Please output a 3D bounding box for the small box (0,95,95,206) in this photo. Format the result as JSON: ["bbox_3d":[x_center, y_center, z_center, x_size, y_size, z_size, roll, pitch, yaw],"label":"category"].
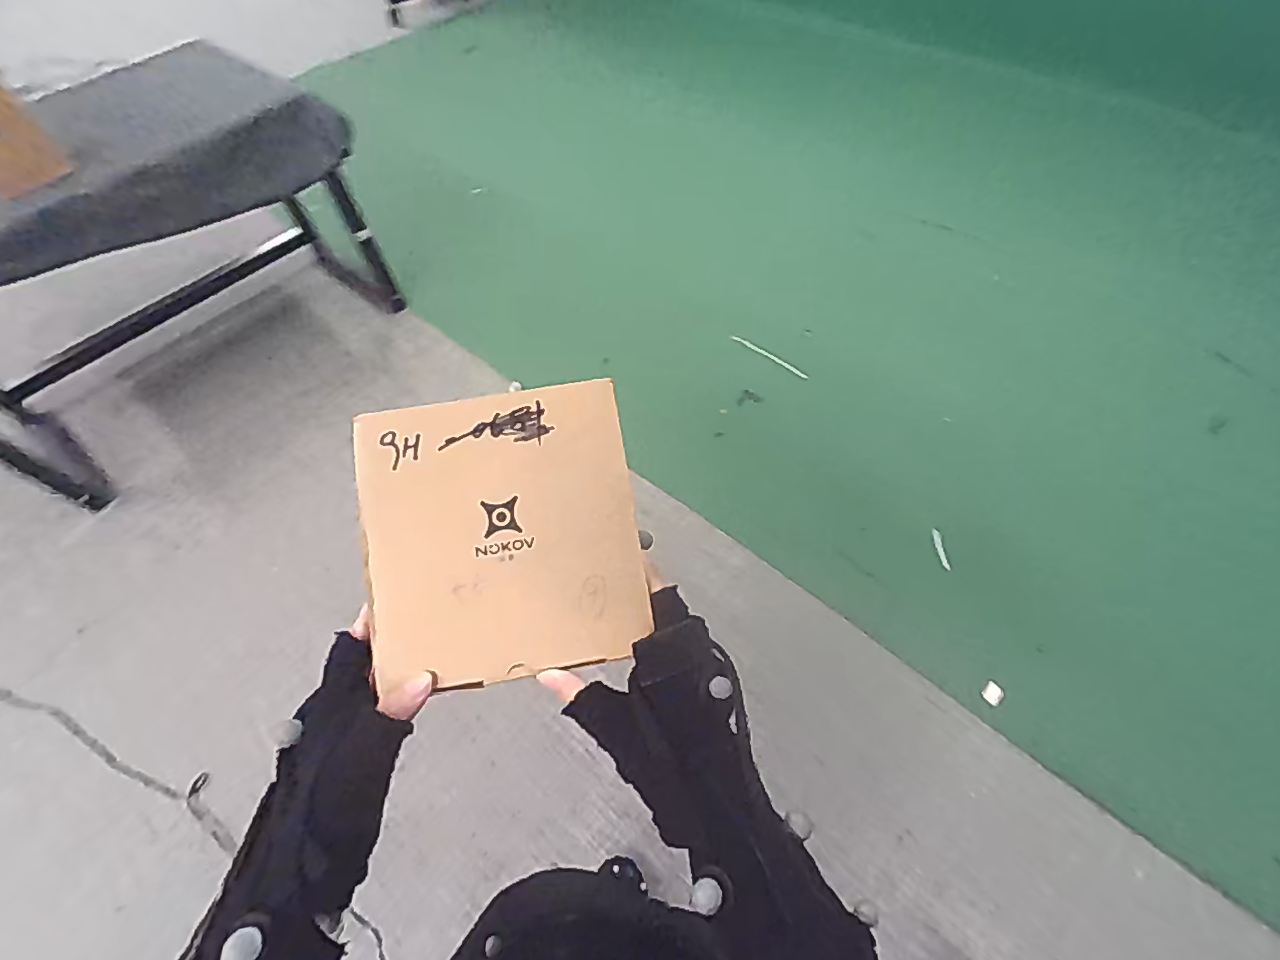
[{"bbox_3d":[-1.431,-0.764,1.238,0.168,0.176,0.179,36,65,22],"label":"small box"}]
